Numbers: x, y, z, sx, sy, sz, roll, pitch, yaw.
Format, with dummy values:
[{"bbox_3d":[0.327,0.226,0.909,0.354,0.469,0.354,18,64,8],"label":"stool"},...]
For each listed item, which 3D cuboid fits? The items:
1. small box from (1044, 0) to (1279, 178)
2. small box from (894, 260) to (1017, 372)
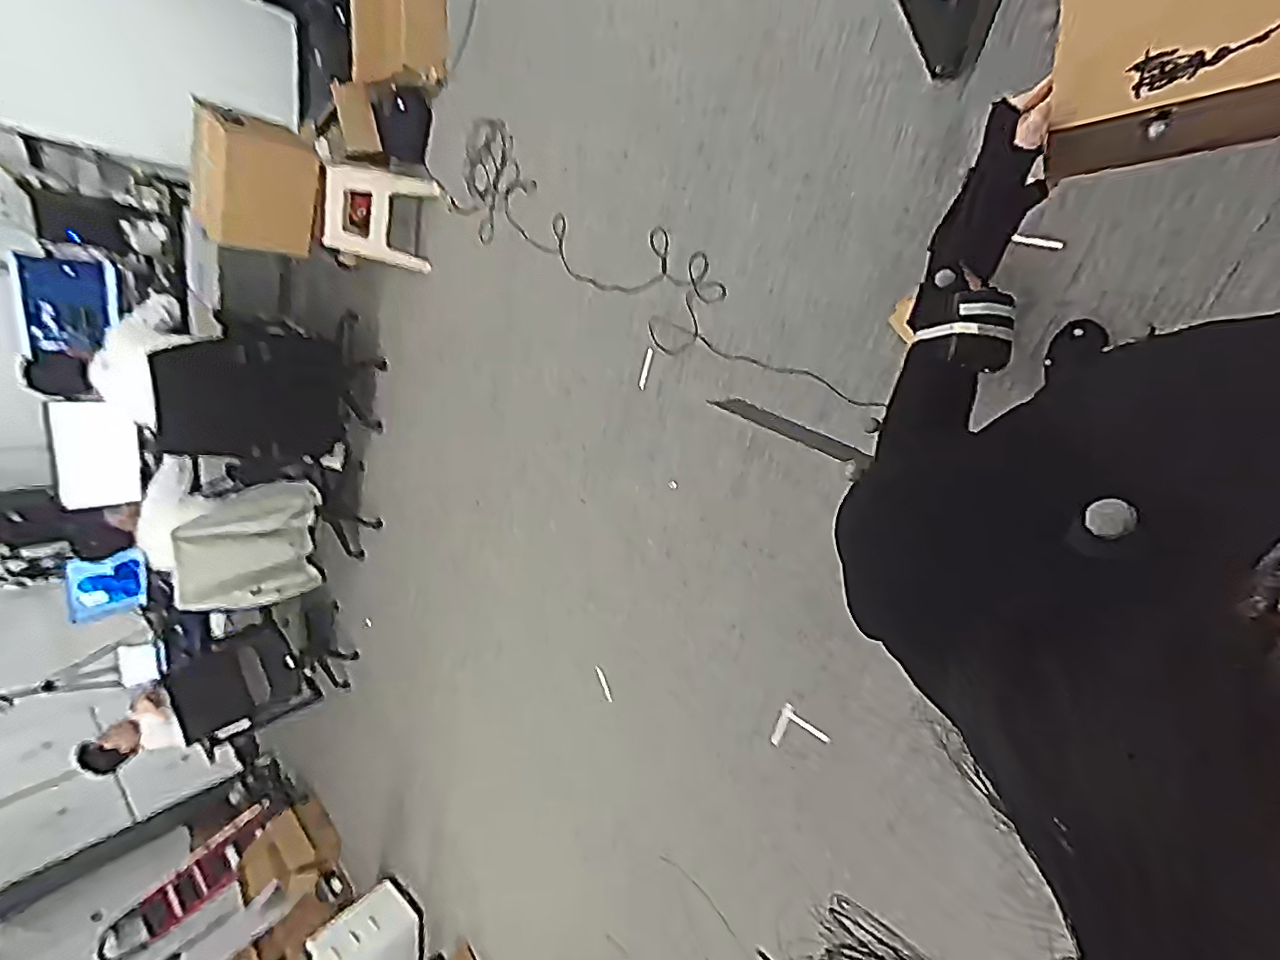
[{"bbox_3d":[0.409,-0.352,0.396,0.168,0.176,0.179,6,104,35],"label":"small box"},{"bbox_3d":[0.714,-0.362,1.222,0.168,0.176,0.179,-43,74,36],"label":"small box"}]
